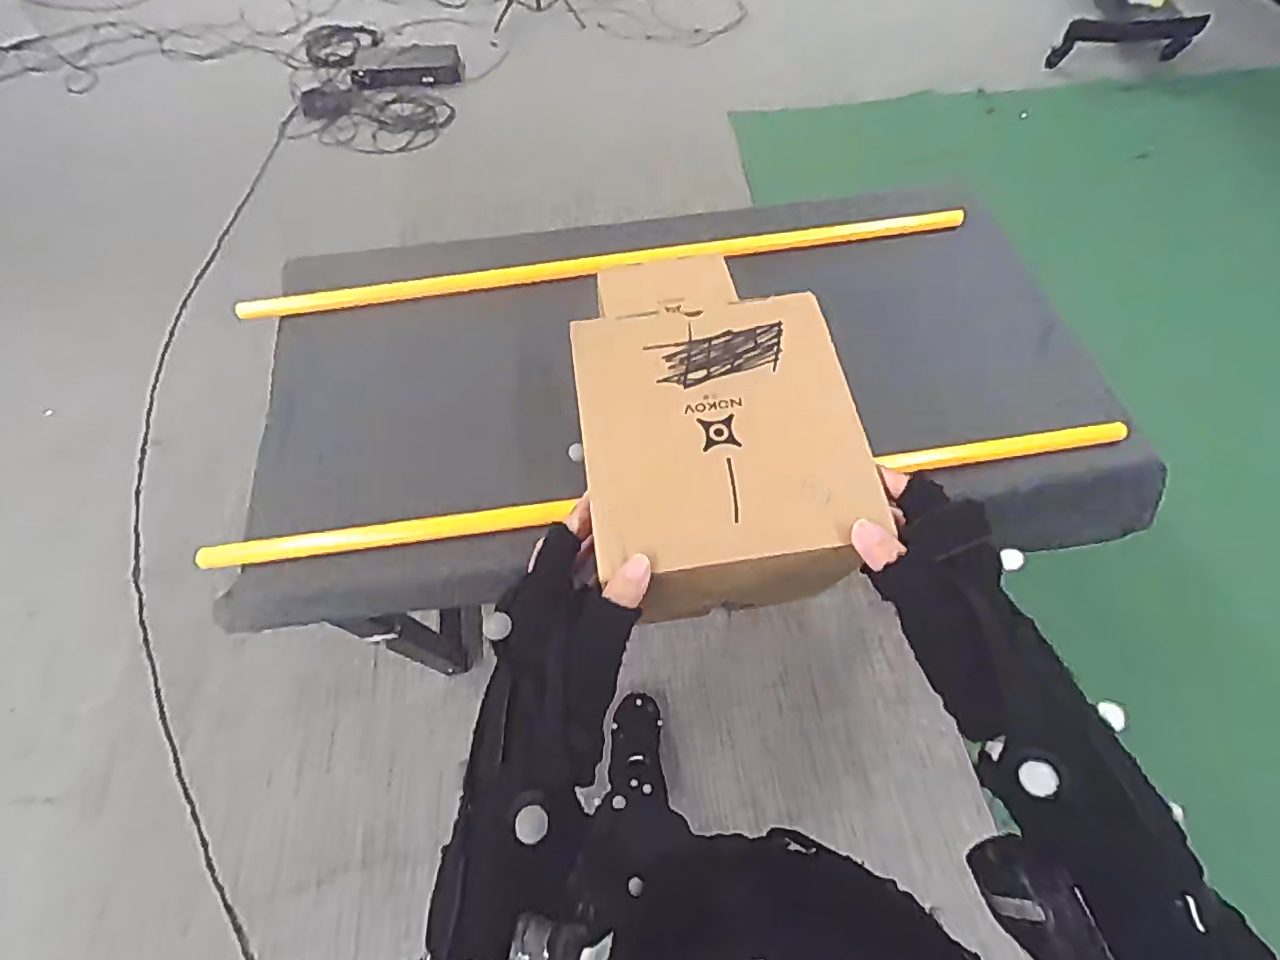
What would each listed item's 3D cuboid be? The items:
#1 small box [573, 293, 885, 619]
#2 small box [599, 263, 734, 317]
[{"bbox_3d":[0.047,-0.007,0.404,0.168,0.176,0.179,-8,66,-1],"label":"small box"},{"bbox_3d":[0.041,-0.158,0.729,0.168,0.176,0.179,-10,63,-4],"label":"small box"}]
